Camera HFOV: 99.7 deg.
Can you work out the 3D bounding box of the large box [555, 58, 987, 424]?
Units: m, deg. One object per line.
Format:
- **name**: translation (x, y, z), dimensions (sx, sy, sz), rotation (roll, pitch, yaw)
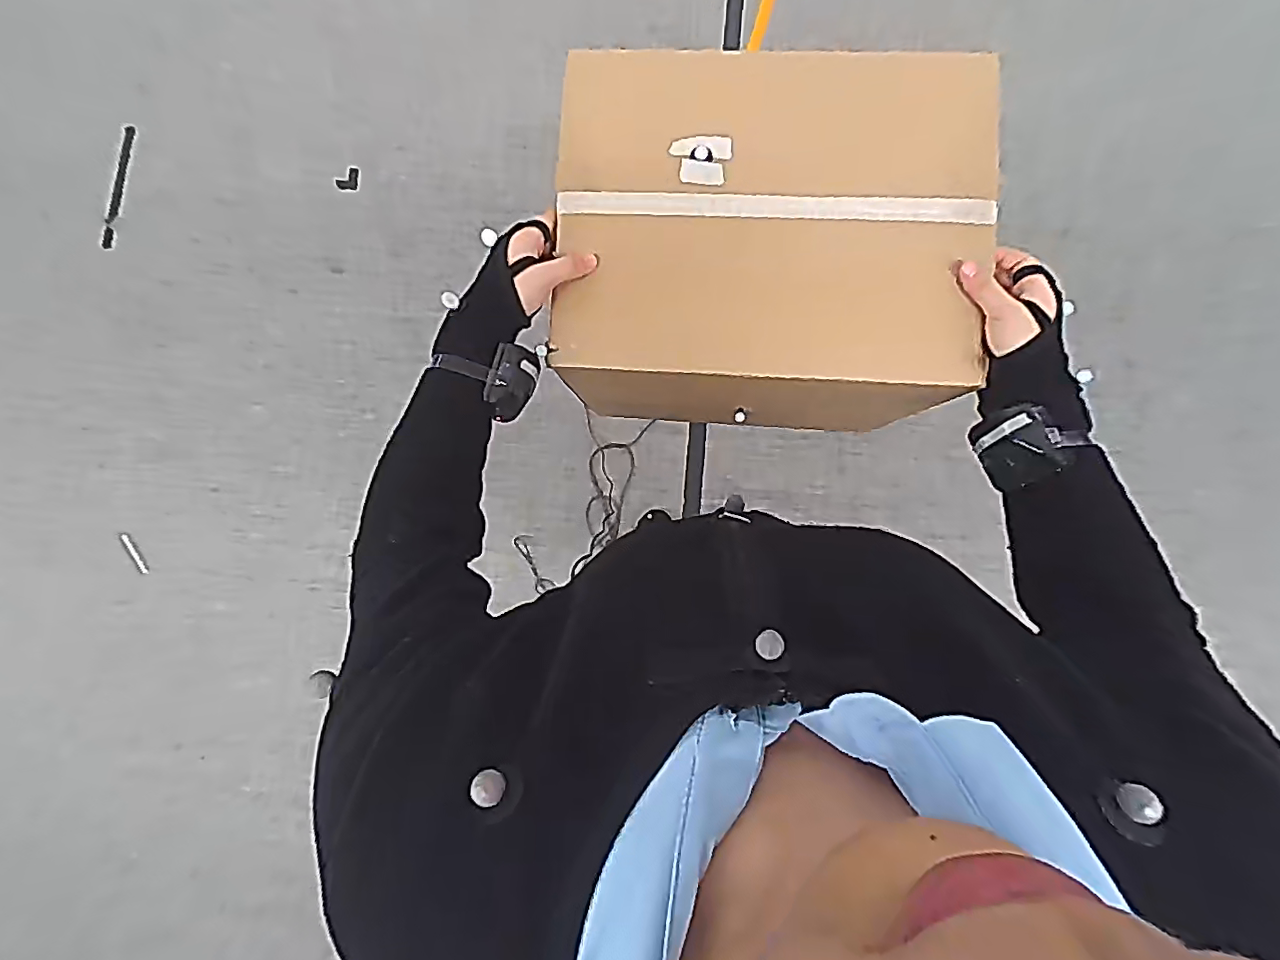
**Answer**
- **large box**: translation (0.136, -0.246, 0.665), dimensions (0.408, 0.320, 0.320), rotation (3, 87, 5)
